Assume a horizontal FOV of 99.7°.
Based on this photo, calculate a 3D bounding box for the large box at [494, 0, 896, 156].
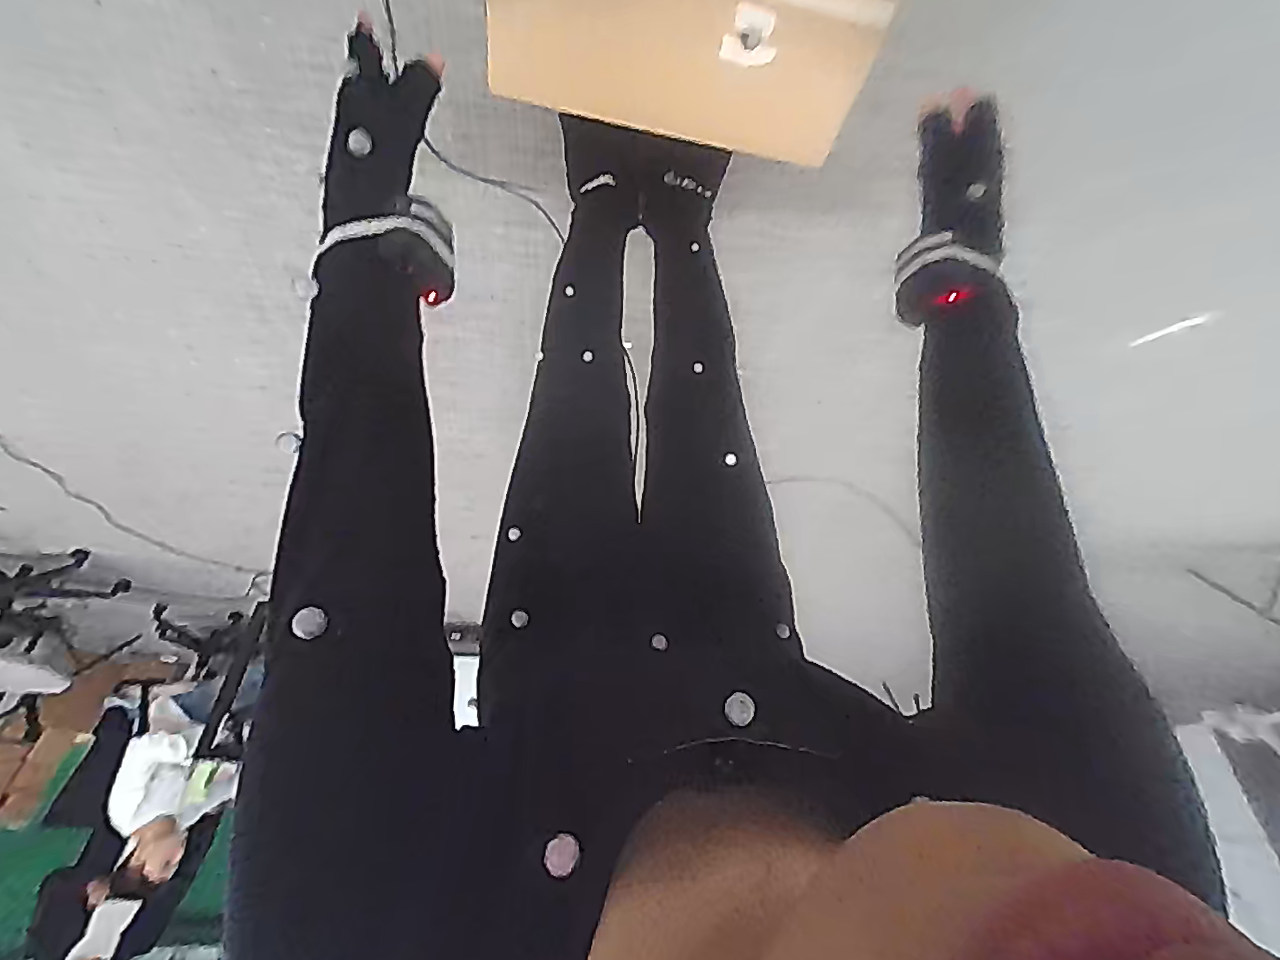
[{"bbox_3d":[0.059,-0.621,0.593,0.408,0.320,0.320,6,146,-10],"label":"large box"}]
